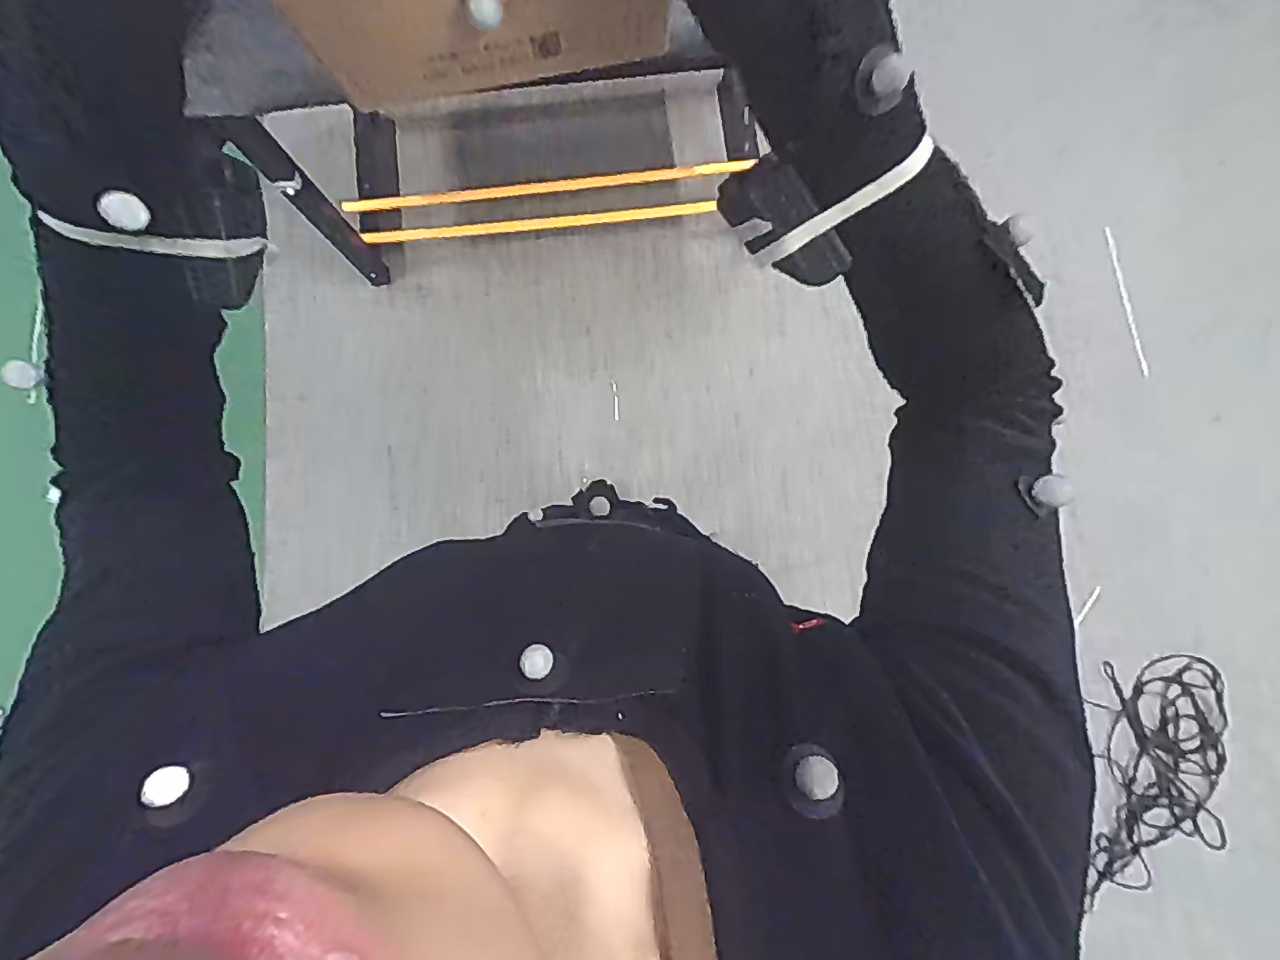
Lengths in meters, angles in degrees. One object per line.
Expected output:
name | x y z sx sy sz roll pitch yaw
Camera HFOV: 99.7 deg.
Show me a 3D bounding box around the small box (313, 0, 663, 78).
small box | -0.081 -0.297 0.190 0.168 0.176 0.179 -10 90 1
